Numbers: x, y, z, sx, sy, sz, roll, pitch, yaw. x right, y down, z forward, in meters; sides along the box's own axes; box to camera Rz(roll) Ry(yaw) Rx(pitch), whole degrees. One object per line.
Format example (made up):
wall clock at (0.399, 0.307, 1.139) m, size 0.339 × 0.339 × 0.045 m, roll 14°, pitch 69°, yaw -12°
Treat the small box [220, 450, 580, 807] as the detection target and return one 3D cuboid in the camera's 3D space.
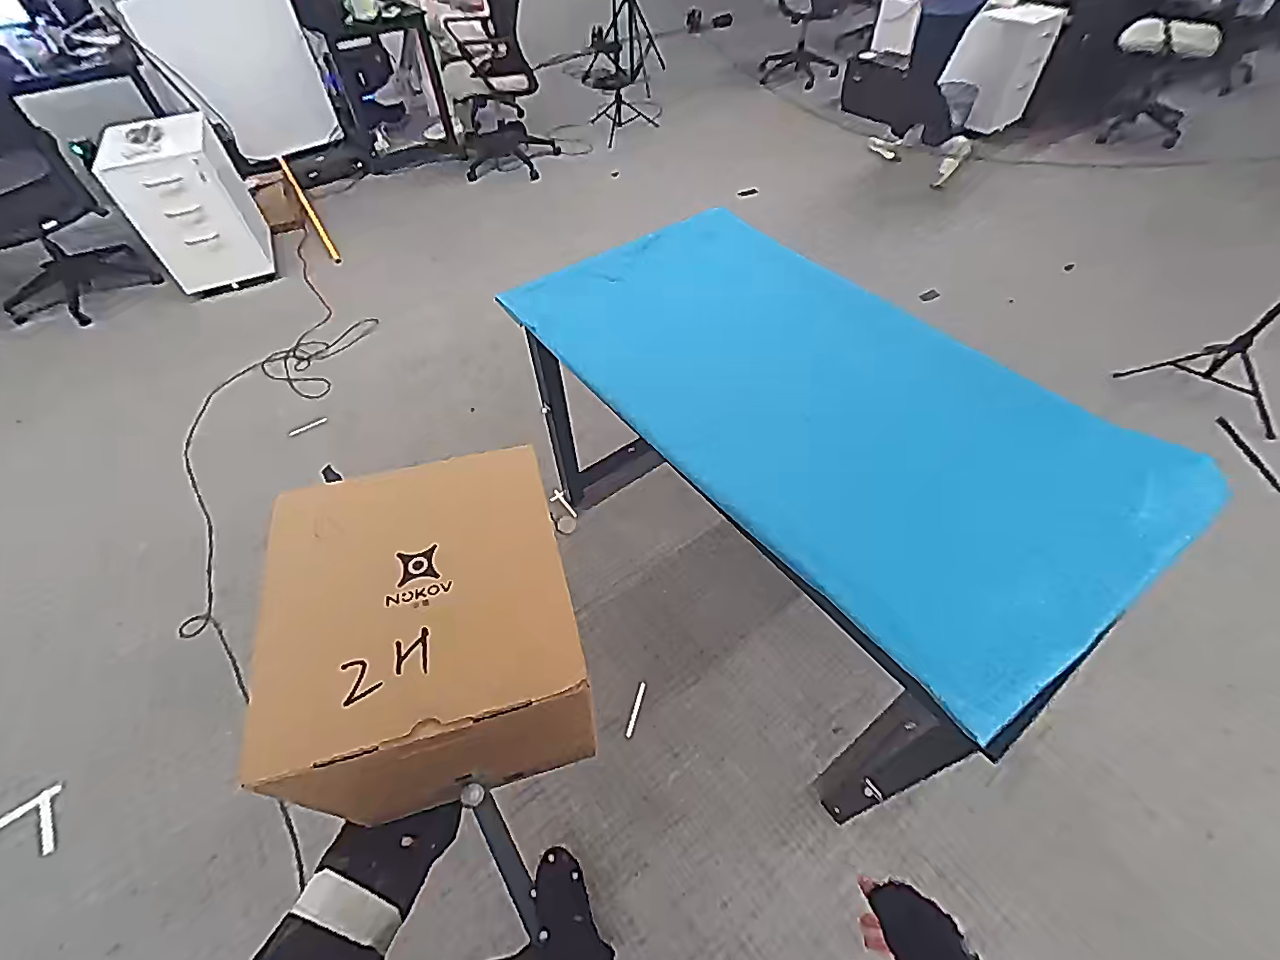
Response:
small box at (-0.138, 0.106, 0.378) m, size 0.168 × 0.176 × 0.179 m, roll -10°, pitch 56°, yaw -8°
